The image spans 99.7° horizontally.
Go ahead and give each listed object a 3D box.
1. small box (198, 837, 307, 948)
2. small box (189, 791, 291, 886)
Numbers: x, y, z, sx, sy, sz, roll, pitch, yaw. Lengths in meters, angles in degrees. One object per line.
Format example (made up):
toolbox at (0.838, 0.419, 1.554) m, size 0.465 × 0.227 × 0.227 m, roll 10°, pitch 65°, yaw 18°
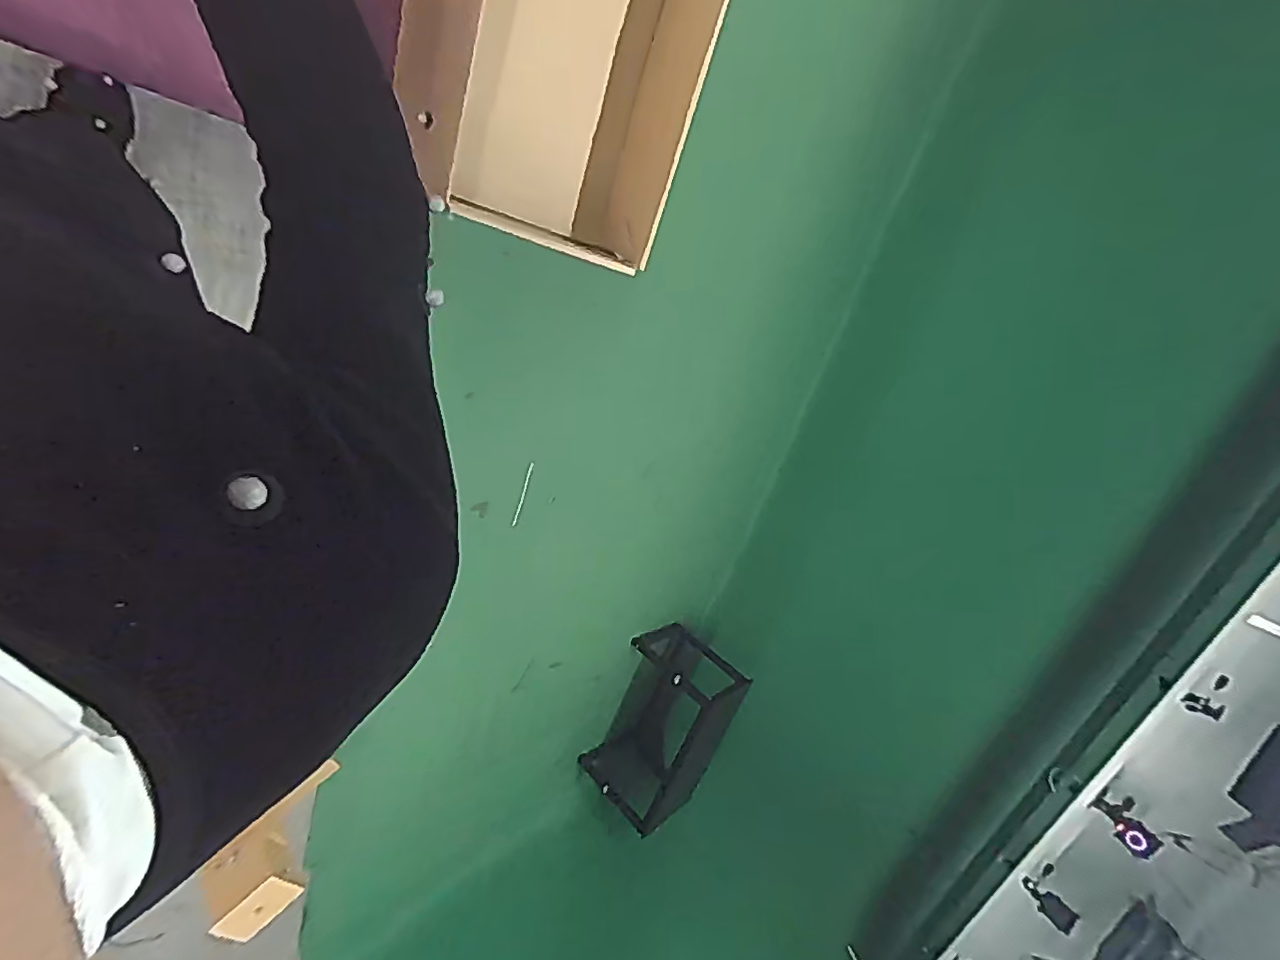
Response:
small box at (-1.080, 1.145, 1.511) m, size 0.168 × 0.176 × 0.179 m, roll -37°, pitch 140°, yaw -29°
small box at (-1.193, 1.078, 1.607) m, size 0.179 × 0.176 × 0.168 m, roll -38°, pitch 142°, yaw -27°
